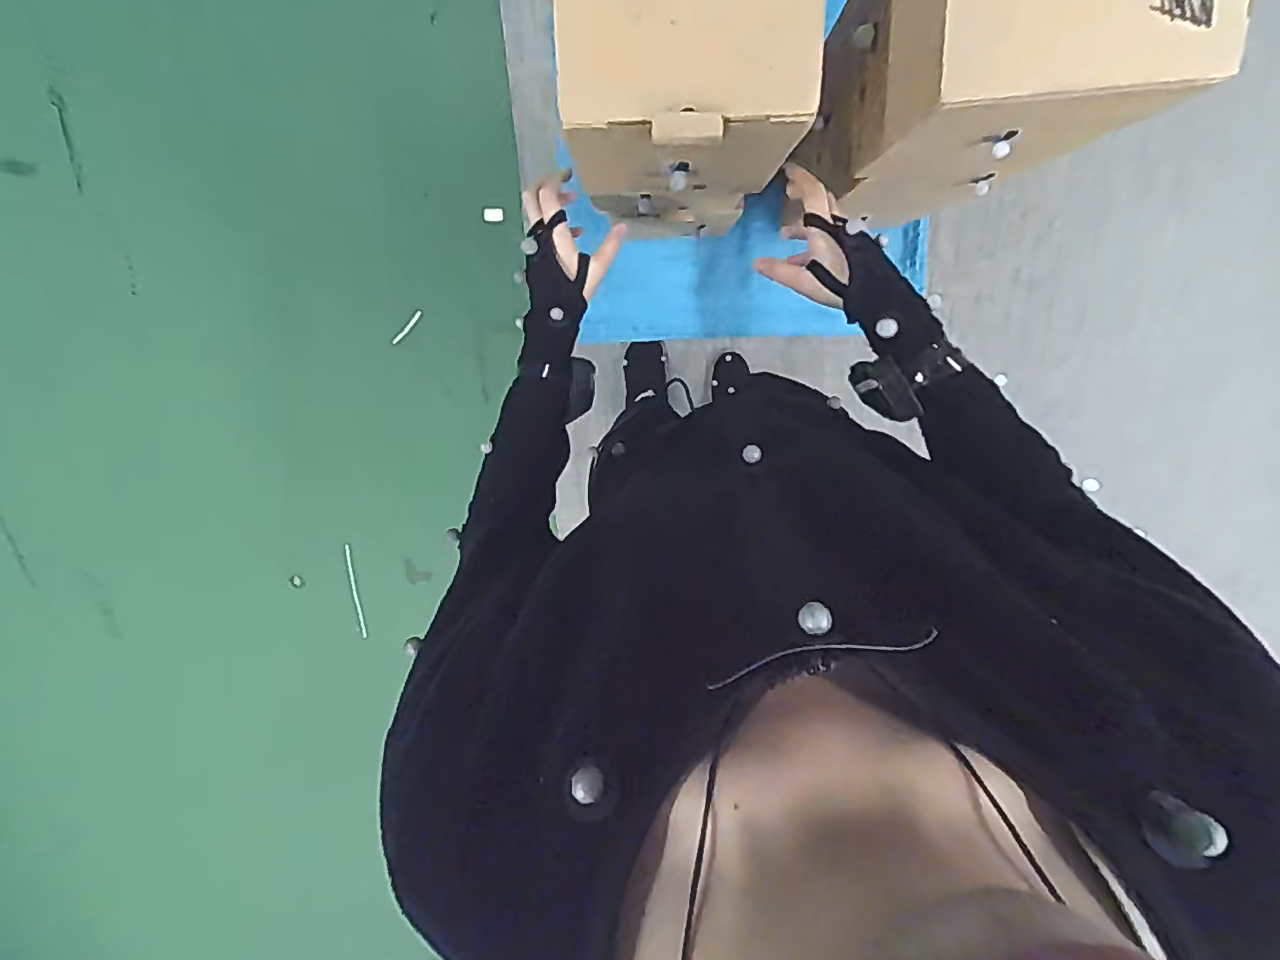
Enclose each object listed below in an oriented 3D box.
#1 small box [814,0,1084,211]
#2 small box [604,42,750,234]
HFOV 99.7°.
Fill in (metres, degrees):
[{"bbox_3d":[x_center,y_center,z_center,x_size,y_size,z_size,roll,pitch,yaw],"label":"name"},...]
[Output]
[{"bbox_3d":[0.284,-0.377,0.534,0.179,0.176,0.168,-3,104,4],"label":"small box"},{"bbox_3d":[0.044,-0.424,0.703,0.168,0.176,0.179,-1,104,1],"label":"small box"}]
